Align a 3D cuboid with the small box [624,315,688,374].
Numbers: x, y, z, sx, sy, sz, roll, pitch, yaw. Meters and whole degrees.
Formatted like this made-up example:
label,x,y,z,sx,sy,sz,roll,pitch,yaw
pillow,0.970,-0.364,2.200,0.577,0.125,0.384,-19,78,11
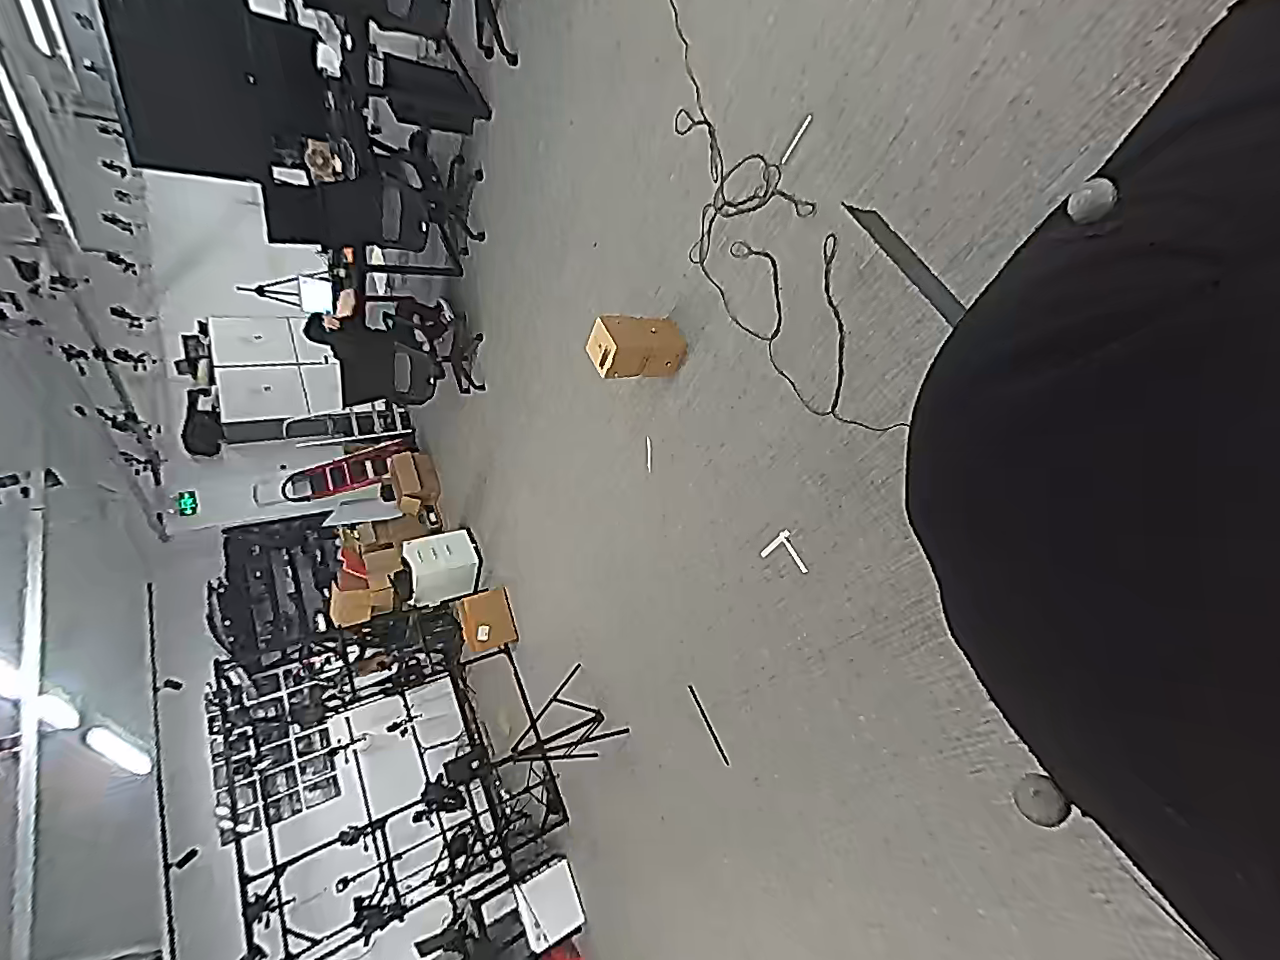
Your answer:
label,x,y,z,sx,sy,sz,roll,pitch,yaw
small box,0.064,-0.547,2.184,0.179,0.176,0.168,58,142,28
